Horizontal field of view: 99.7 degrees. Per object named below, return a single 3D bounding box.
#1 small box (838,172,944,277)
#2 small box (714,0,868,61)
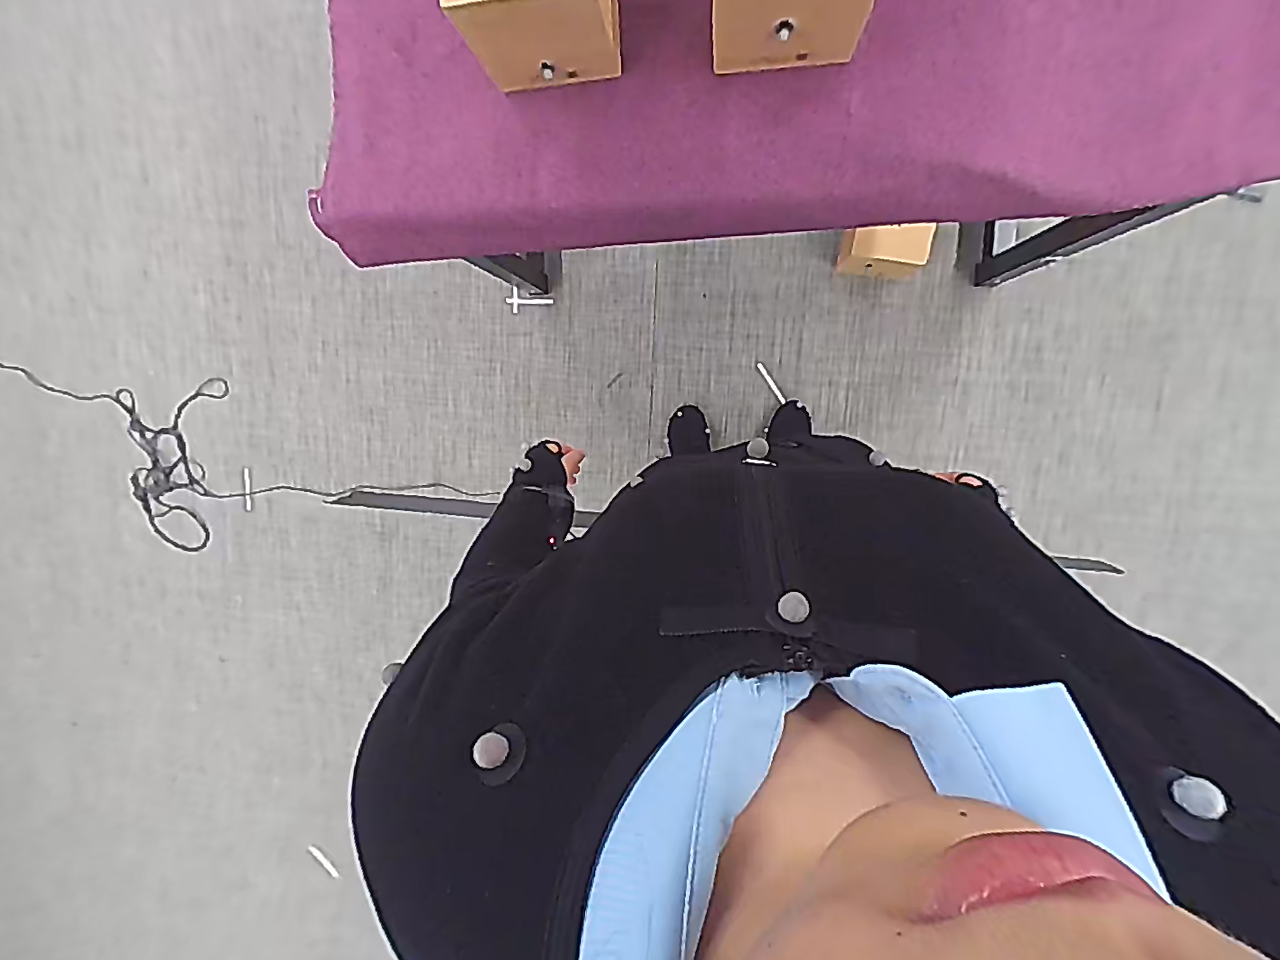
[{"bbox_3d":[0.577,-0.589,1.267,0.168,0.176,0.179,11,100,7],"label":"small box"},{"bbox_3d":[0.165,-0.587,0.579,0.168,0.176,0.179,1,98,7],"label":"small box"}]
